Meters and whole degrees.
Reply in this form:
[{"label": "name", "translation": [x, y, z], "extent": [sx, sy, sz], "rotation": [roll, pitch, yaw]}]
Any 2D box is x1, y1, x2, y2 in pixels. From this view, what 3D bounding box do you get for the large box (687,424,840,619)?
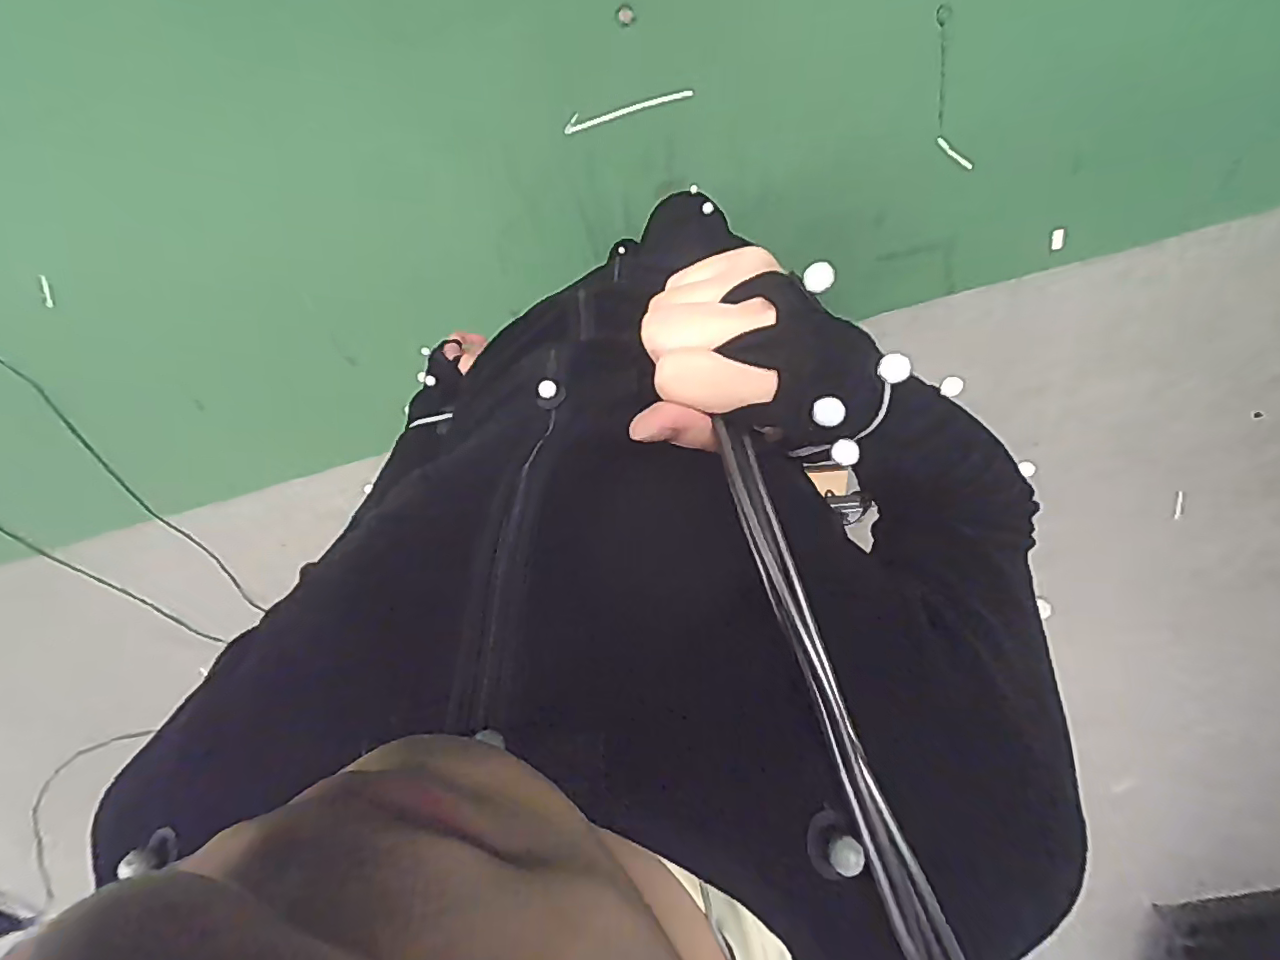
[{"label": "large box", "translation": [0.297, 0.098, 1.407], "extent": [0.320, 0.320, 0.408], "rotation": [-3, 115, 0]}]
